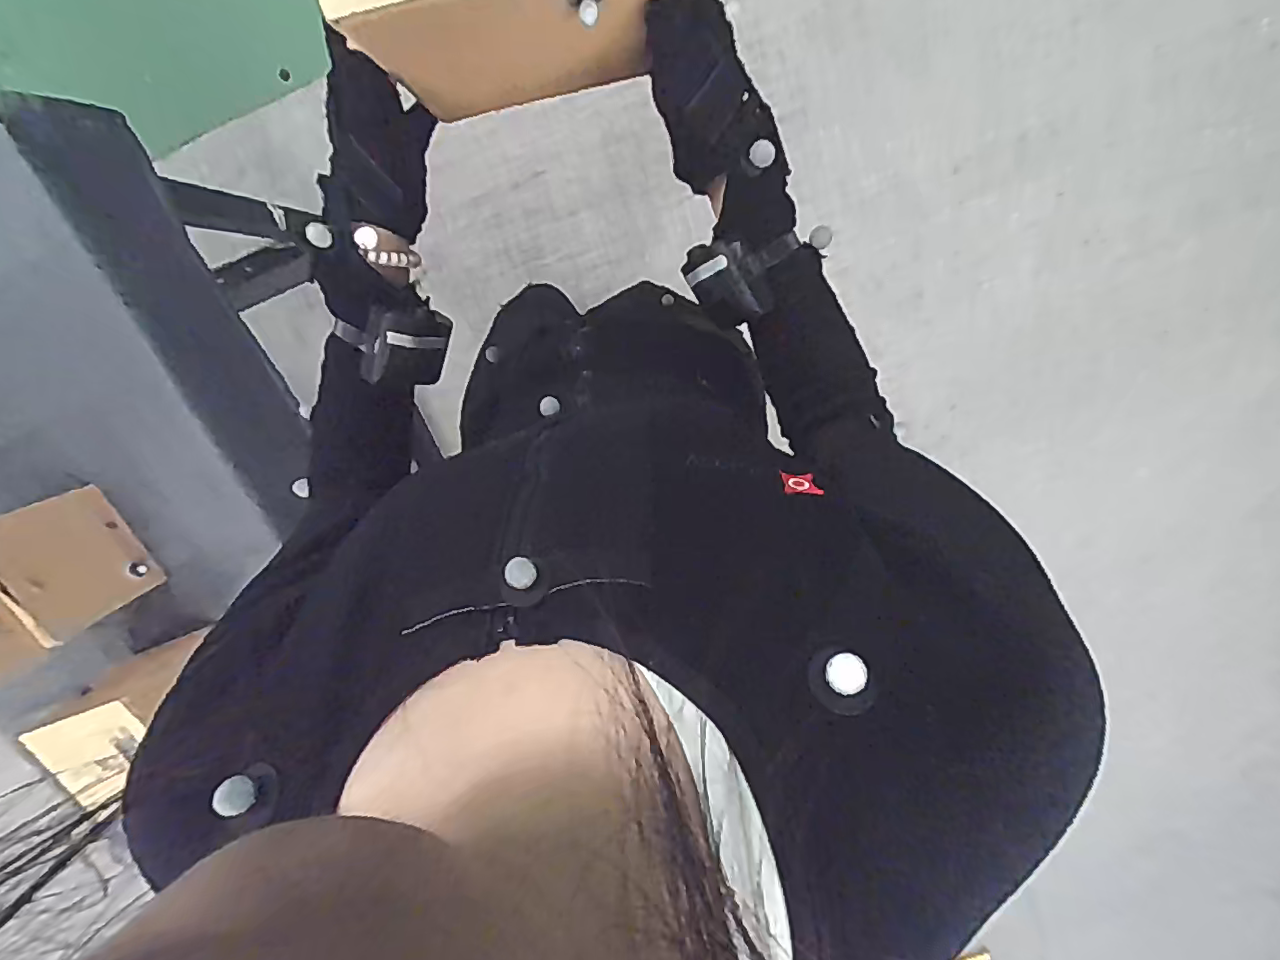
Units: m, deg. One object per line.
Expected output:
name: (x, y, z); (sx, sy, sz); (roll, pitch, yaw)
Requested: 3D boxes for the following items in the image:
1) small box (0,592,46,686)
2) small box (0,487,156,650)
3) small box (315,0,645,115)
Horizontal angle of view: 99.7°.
small box: (-0.828, 0.199, 0.576); (0.179, 0.176, 0.168); (-22, 108, 8)
small box: (-0.814, 0.129, 0.724); (0.179, 0.176, 0.168); (-20, 107, 9)
small box: (-0.095, -0.351, 0.324); (0.179, 0.176, 0.168); (-12, 108, 3)
